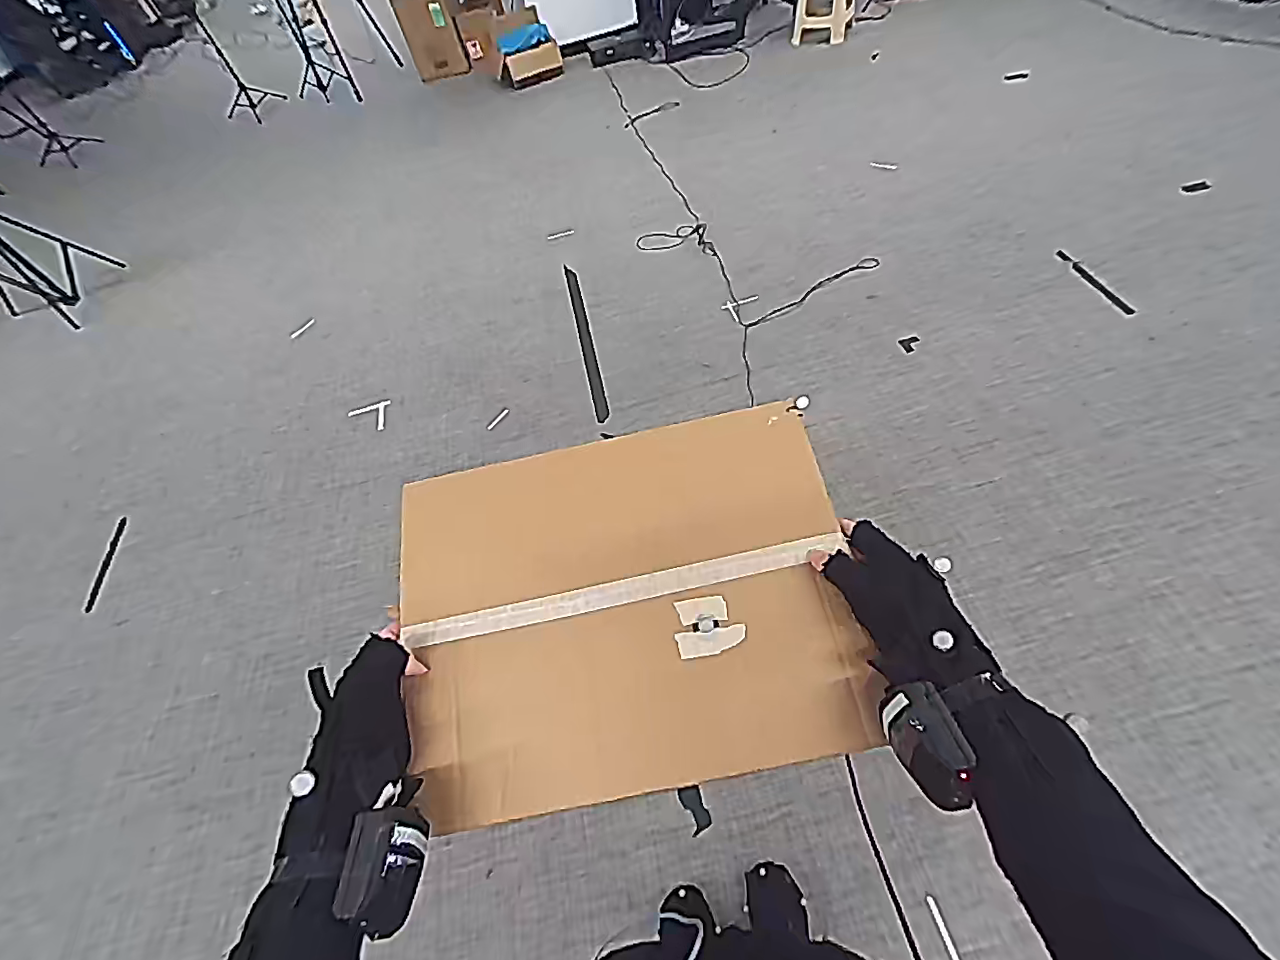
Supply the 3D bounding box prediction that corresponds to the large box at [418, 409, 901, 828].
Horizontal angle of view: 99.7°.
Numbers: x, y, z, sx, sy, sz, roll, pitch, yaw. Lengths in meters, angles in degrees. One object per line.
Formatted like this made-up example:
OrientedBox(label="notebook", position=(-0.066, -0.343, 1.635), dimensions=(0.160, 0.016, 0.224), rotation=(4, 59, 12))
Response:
OrientedBox(label="large box", position=(0.003, 0.166, 0.630), dimensions=(0.408, 0.320, 0.320), rotation=(-12, 65, 1))
